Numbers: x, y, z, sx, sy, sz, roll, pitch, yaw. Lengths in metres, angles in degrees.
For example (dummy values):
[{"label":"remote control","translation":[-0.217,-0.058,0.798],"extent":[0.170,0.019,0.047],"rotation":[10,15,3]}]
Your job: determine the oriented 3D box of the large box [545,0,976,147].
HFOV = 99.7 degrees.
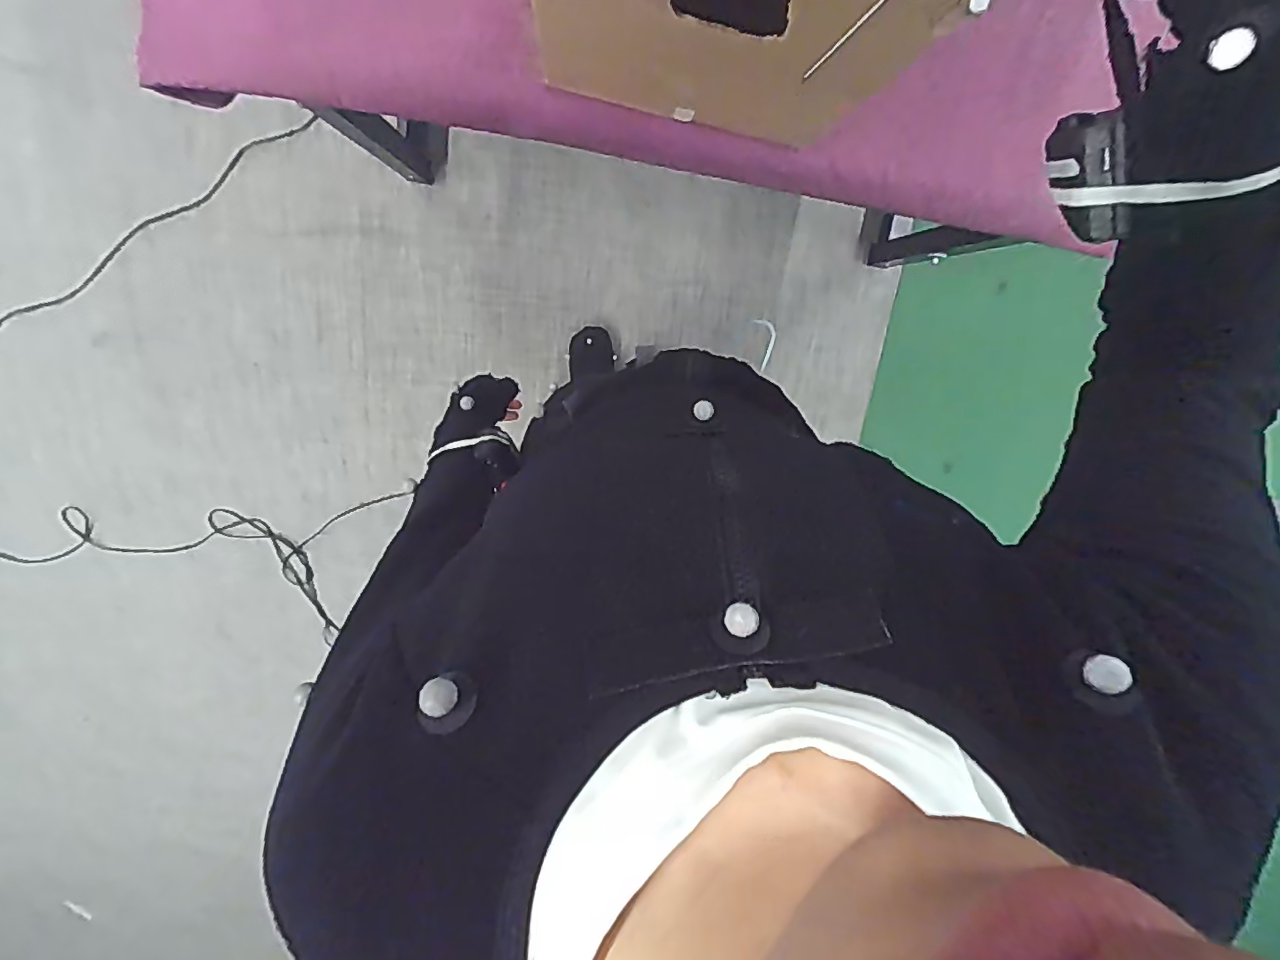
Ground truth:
[{"label":"large box","translation":[0.102,-0.568,0.439],"extent":[0.320,0.320,0.408],"rotation":[10,106,-7]}]
